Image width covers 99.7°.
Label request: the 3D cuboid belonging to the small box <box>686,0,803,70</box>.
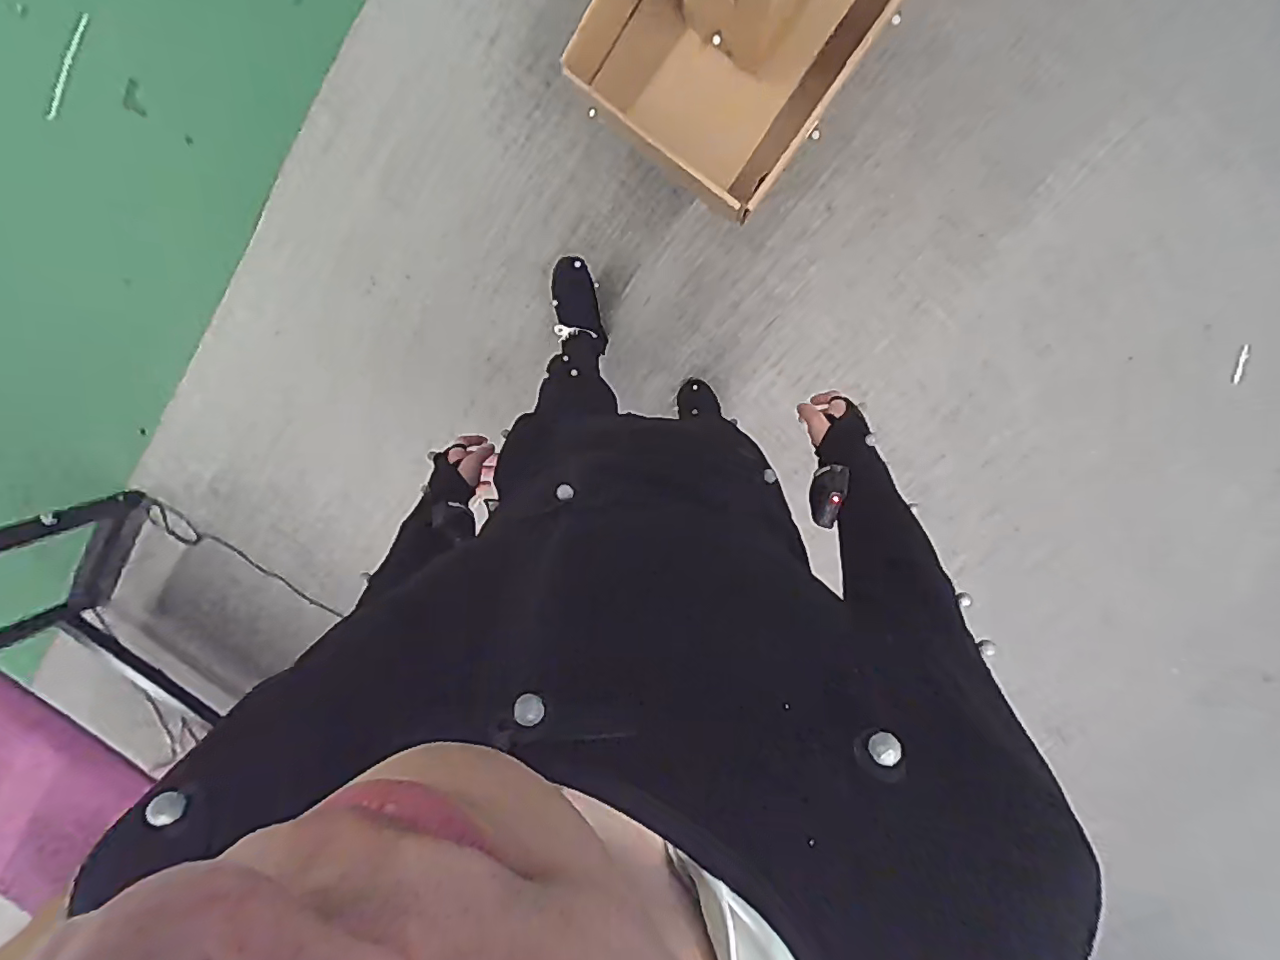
[{"bbox_3d":[0.180,-0.817,0.859,0.168,0.176,0.179,37,106,-4],"label":"small box"}]
